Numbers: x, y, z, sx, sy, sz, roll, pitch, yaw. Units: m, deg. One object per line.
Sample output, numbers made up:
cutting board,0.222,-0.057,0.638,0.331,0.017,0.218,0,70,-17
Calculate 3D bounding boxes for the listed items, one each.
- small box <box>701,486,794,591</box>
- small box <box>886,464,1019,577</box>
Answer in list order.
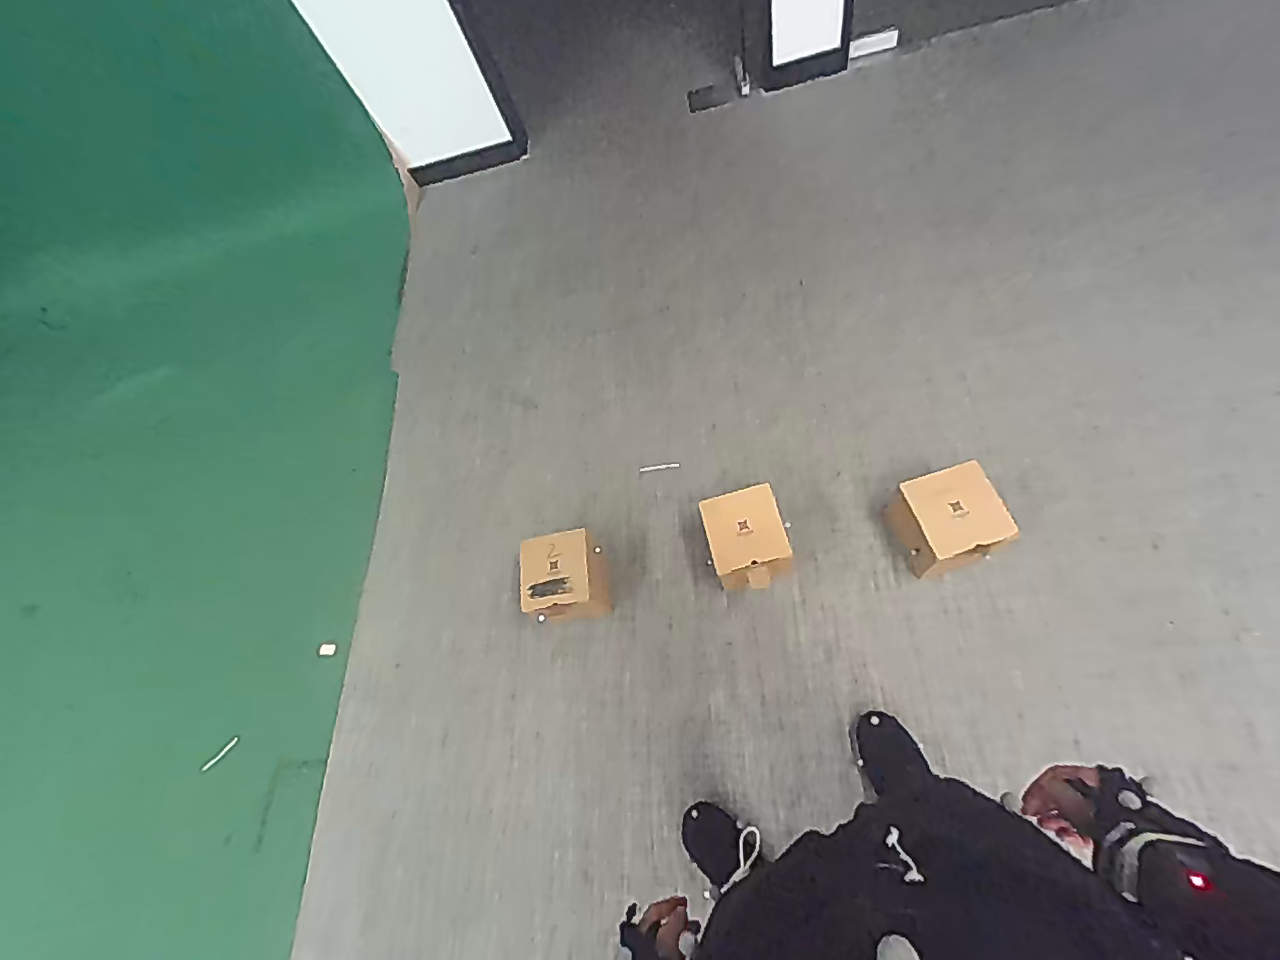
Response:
small box,0.245,0.139,1.244,0.168,0.176,0.179,-16,64,7
small box,0.654,0.097,1.157,0.168,0.176,0.179,-18,62,5
